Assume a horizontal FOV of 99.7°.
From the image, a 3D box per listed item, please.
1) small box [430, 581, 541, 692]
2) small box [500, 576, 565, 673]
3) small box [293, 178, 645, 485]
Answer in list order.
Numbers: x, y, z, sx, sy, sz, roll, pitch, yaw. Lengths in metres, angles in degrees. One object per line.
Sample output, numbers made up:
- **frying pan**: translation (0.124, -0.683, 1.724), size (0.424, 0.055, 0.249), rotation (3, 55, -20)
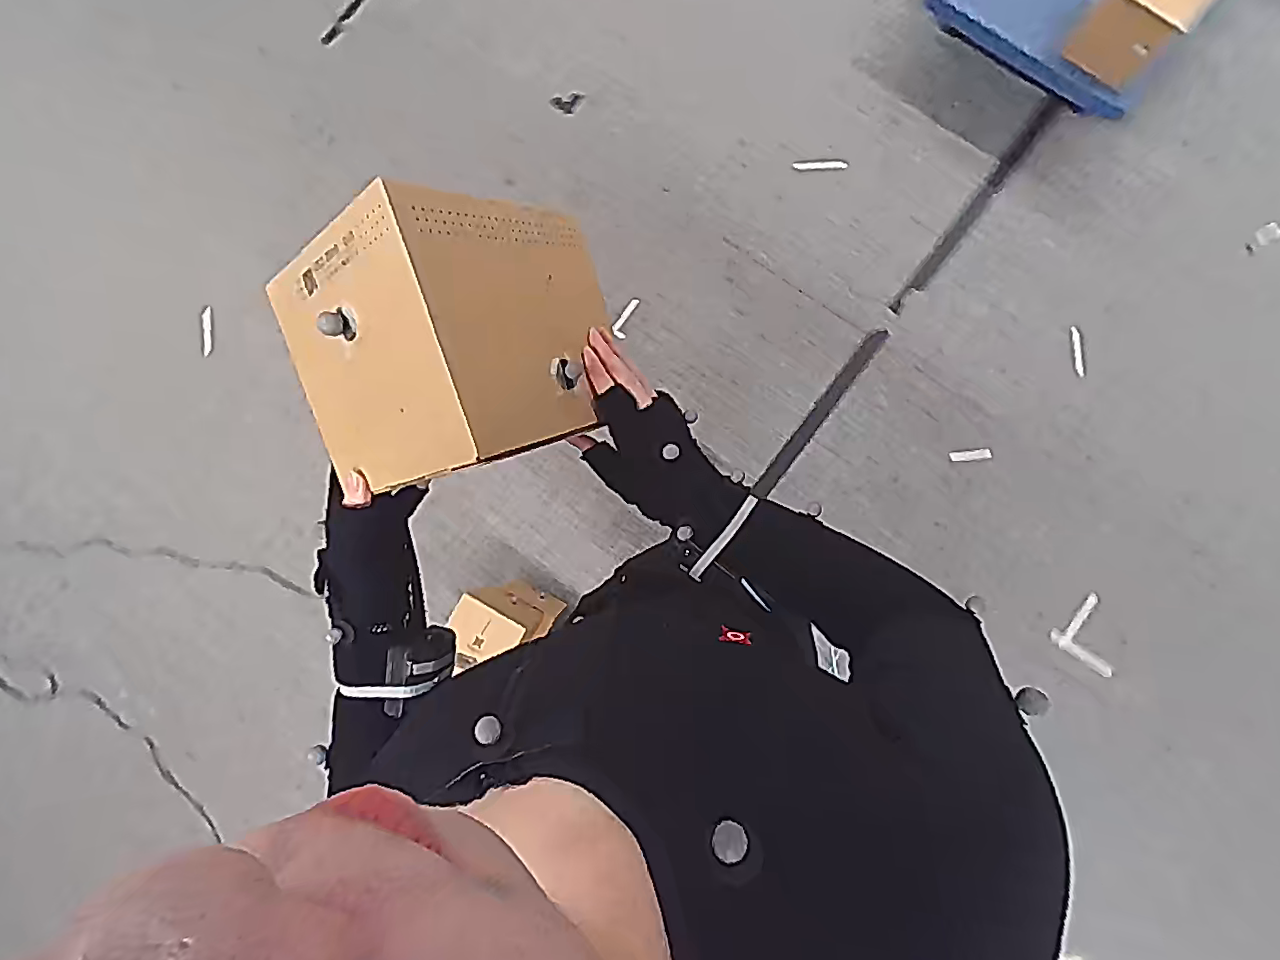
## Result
- **small box**: translation (-0.354, 0.360, 1.278), size (0.168, 0.176, 0.179), rotation (28, 89, 4)
- **small box**: translation (-0.318, 0.376, 1.440), size (0.168, 0.176, 0.179), rotation (27, 89, 4)
- **small box**: translation (-0.124, -0.108, 0.423), size (0.168, 0.179, 0.176), rotation (-10, 99, 36)
